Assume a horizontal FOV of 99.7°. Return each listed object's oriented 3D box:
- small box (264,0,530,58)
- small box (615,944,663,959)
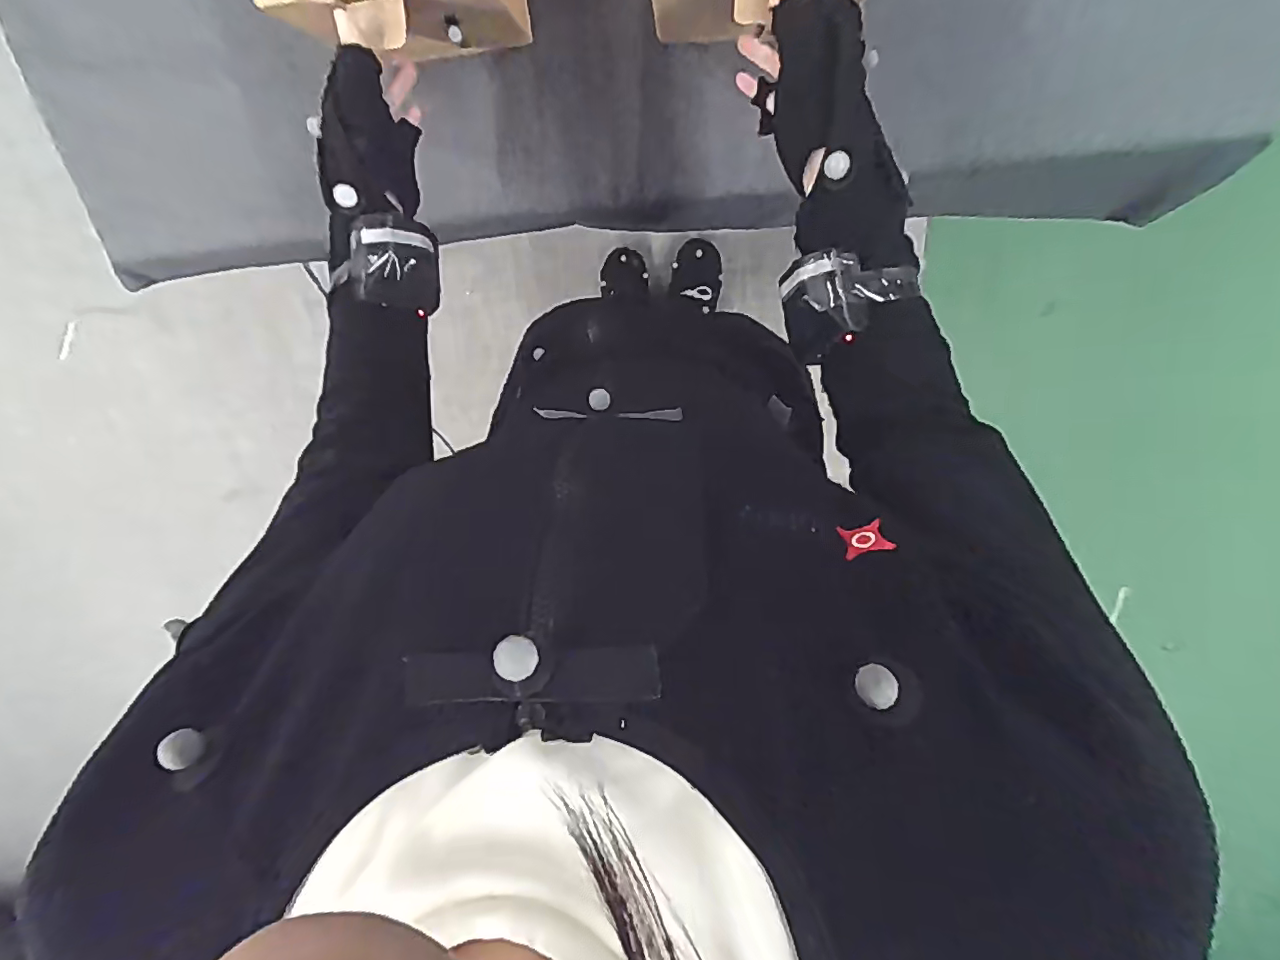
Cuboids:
[{"bbox_3d":[-0.195,-0.460,0.421,0.168,0.176,0.179,-4,113,6],"label":"small box"},{"bbox_3d":[-0.013,1.810,1.935,0.179,0.176,0.168,4,111,4],"label":"small box"}]
